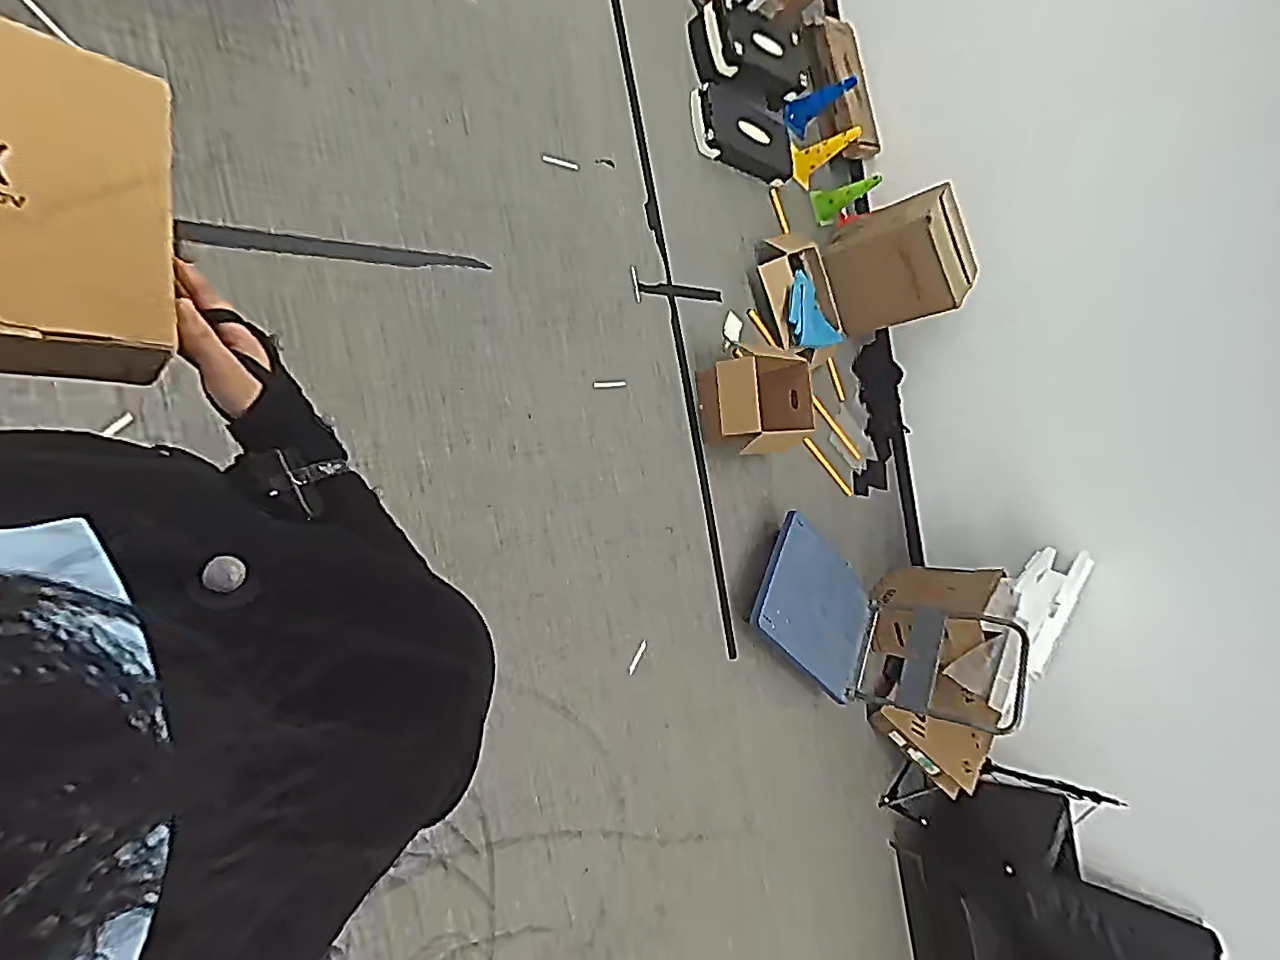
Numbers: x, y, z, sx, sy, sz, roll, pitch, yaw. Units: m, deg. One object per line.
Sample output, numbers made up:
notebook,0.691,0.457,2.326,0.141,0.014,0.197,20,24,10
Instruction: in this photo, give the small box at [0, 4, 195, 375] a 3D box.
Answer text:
small box,-0.409,-0.175,0.350,0.168,0.176,0.179,-2,91,-47
